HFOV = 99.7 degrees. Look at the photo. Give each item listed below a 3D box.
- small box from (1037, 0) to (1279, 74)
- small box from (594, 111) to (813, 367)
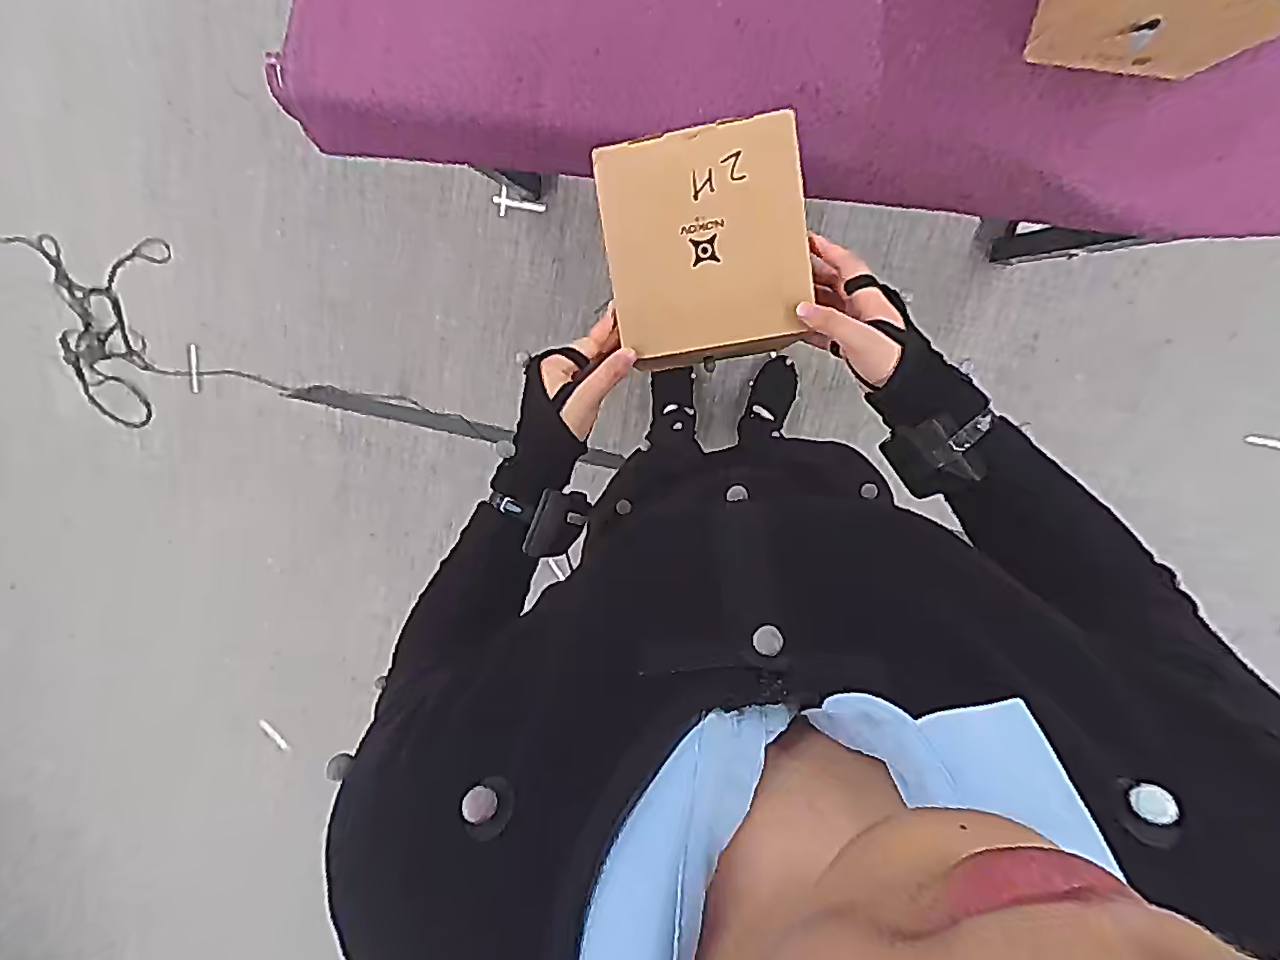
[{"bbox_3d":[0.489,-0.485,0.463,0.168,0.176,0.179,10,108,4],"label":"small box"},{"bbox_3d":[0.060,-0.210,0.529,0.168,0.176,0.179,-9,95,5],"label":"small box"}]
